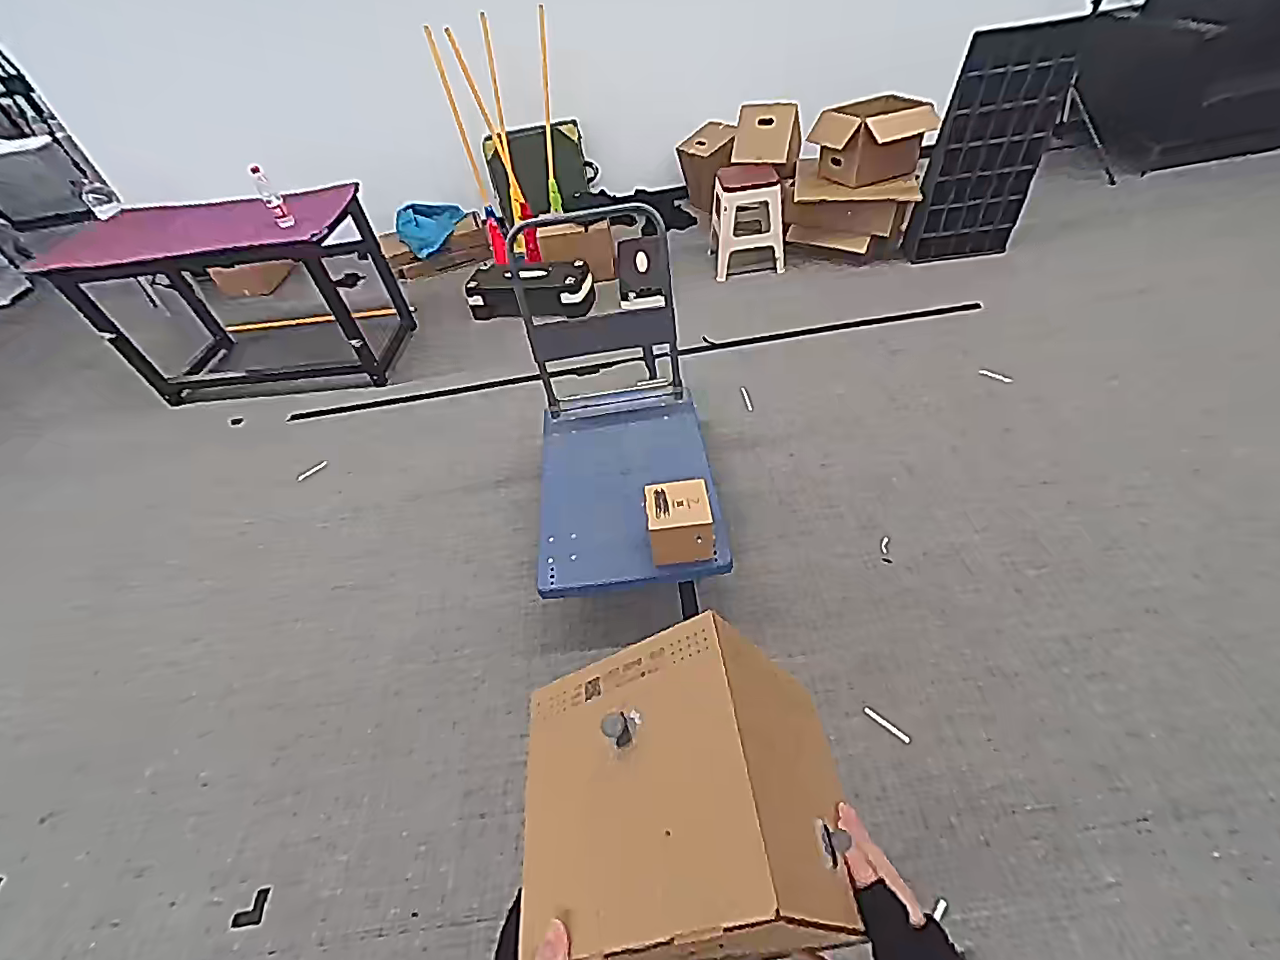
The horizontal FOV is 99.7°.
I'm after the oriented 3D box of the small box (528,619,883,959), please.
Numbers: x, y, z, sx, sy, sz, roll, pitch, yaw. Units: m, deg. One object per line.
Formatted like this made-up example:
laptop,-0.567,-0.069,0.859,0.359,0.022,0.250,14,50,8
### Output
small box,0.042,0.228,0.393,0.168,0.179,0.176,-31,39,19
